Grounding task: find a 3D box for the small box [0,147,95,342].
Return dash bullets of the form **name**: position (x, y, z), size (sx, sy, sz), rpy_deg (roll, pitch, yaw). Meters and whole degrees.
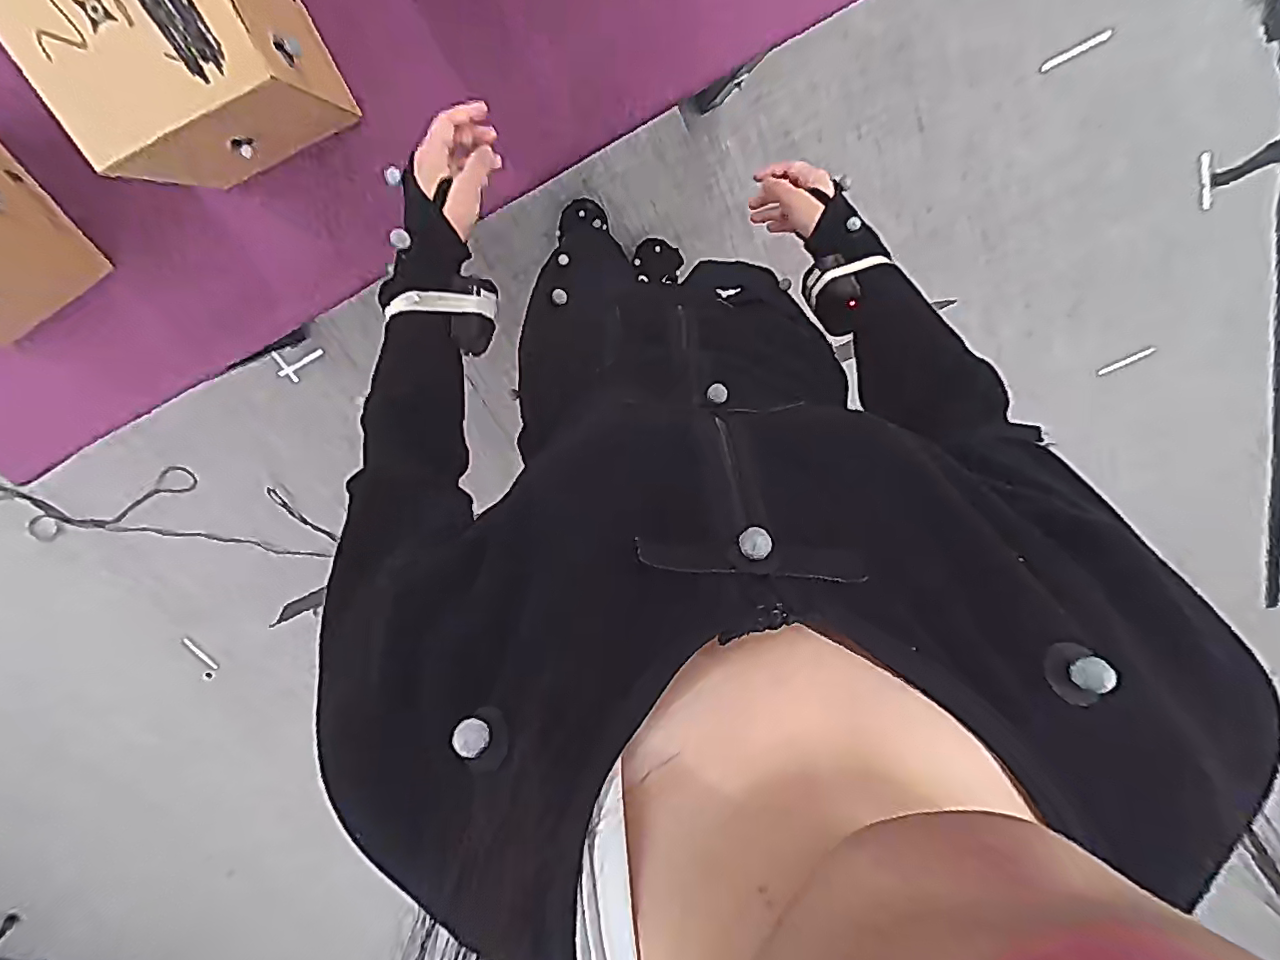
- **small box**: position (-0.702, -0.232, 0.520), size (0.179, 0.176, 0.168), rpy_deg (-28, 112, 9)
